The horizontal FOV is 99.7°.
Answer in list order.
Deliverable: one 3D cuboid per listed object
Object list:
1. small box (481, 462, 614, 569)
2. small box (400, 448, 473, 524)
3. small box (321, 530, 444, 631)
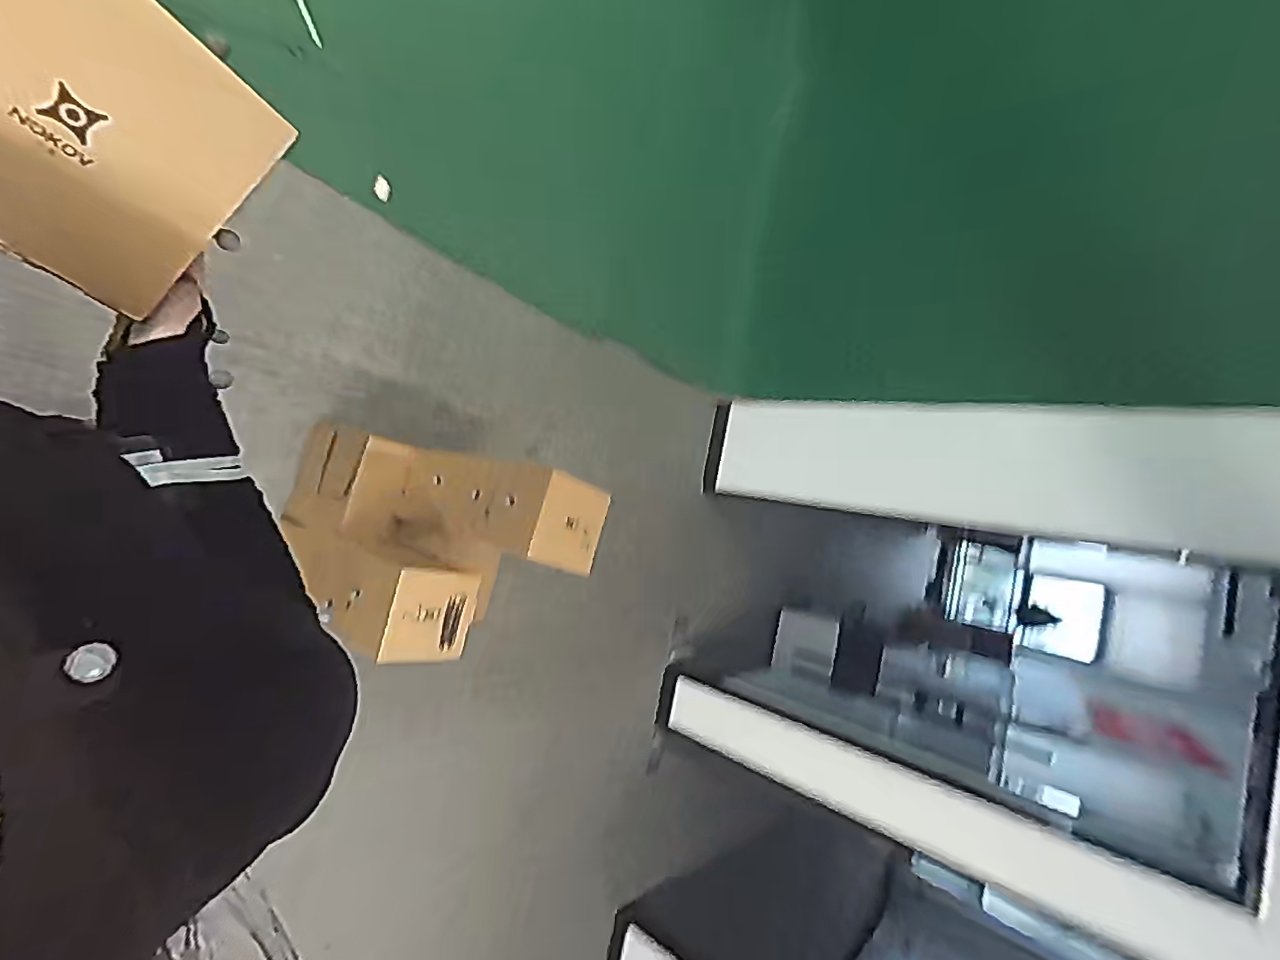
[{"bbox_3d":[-0.186,0.069,1.084,0.179,0.176,0.168,30,73,-50],"label":"small box"},{"bbox_3d":[-0.436,0.025,1.295,0.179,0.176,0.168,22,79,-52],"label":"small box"},{"bbox_3d":[-0.561,0.217,1.171,0.168,0.176,0.179,19,82,-52],"label":"small box"}]
